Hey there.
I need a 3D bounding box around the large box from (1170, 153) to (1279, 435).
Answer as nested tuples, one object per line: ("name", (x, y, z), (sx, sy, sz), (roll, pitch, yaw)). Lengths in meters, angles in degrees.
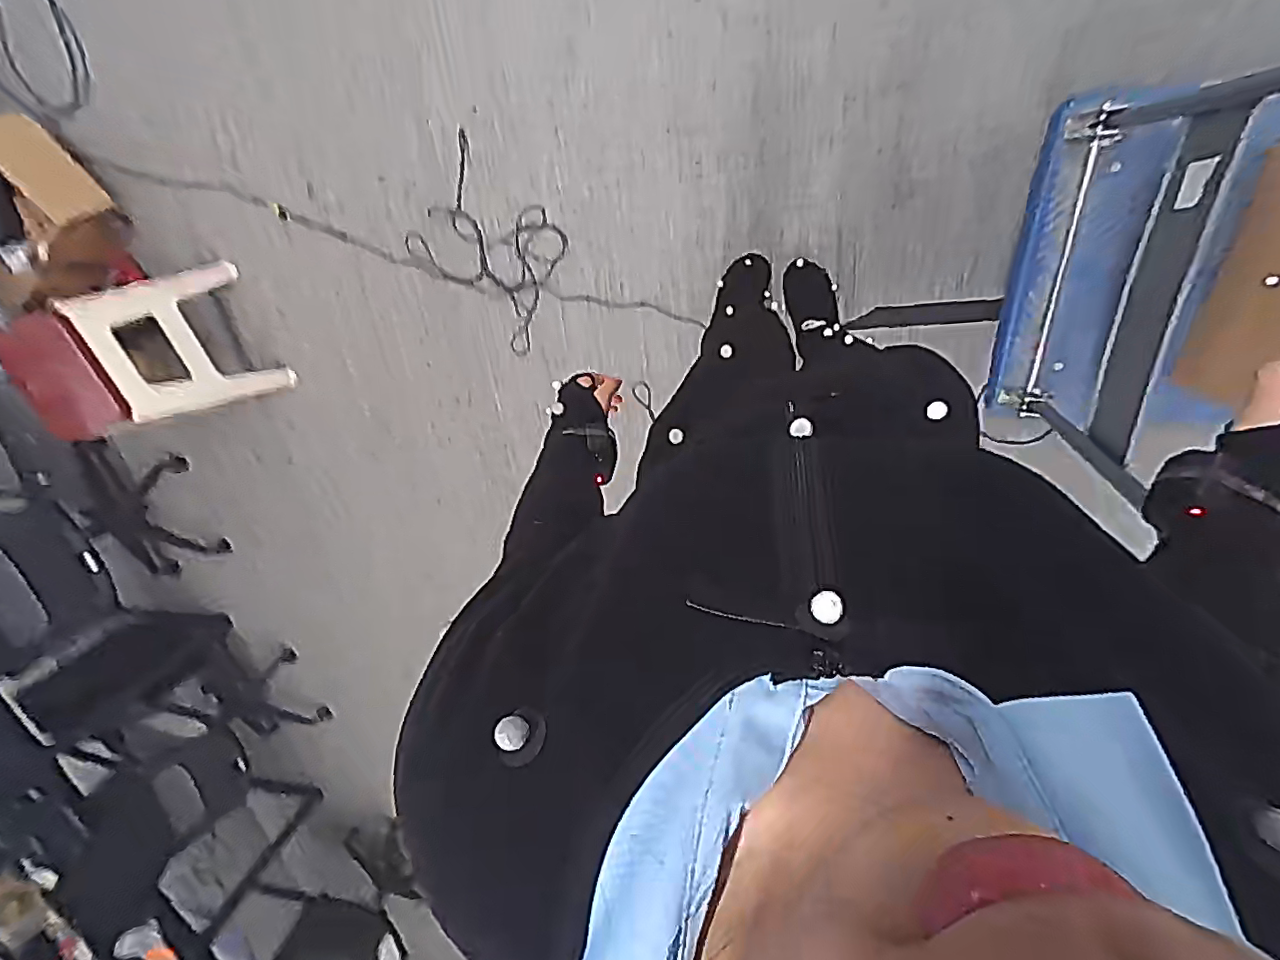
("large box", (1.141, -0.281, 0.807), (0.320, 0.320, 0.408), (8, 118, 10))
